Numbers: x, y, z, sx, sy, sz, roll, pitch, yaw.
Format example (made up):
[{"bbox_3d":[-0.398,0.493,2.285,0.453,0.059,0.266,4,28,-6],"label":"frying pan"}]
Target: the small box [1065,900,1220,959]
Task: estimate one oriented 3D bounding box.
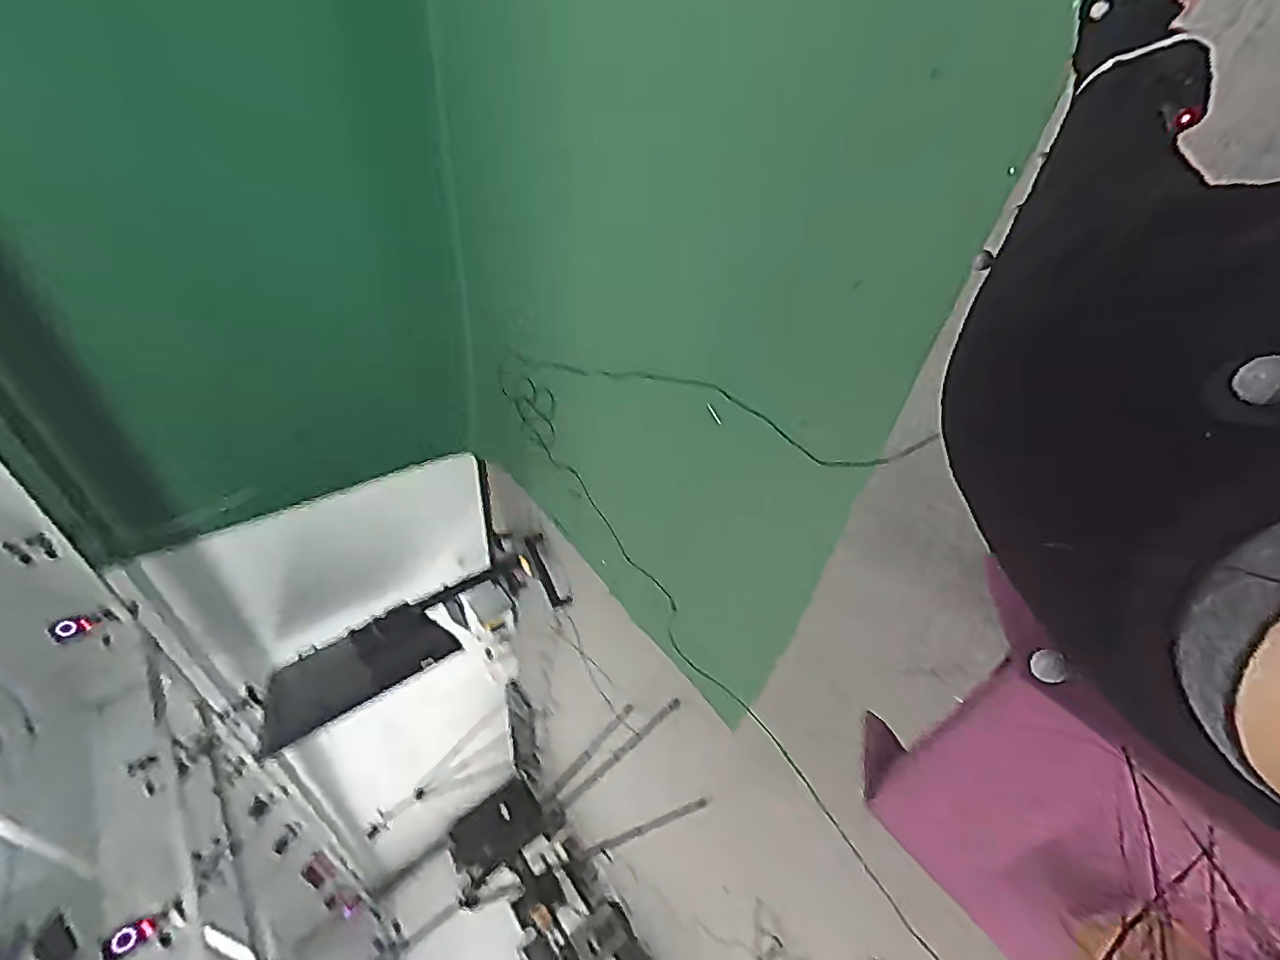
[{"bbox_3d":[0.734,0.749,0.757,0.179,0.176,0.168,43,141,34],"label":"small box"}]
